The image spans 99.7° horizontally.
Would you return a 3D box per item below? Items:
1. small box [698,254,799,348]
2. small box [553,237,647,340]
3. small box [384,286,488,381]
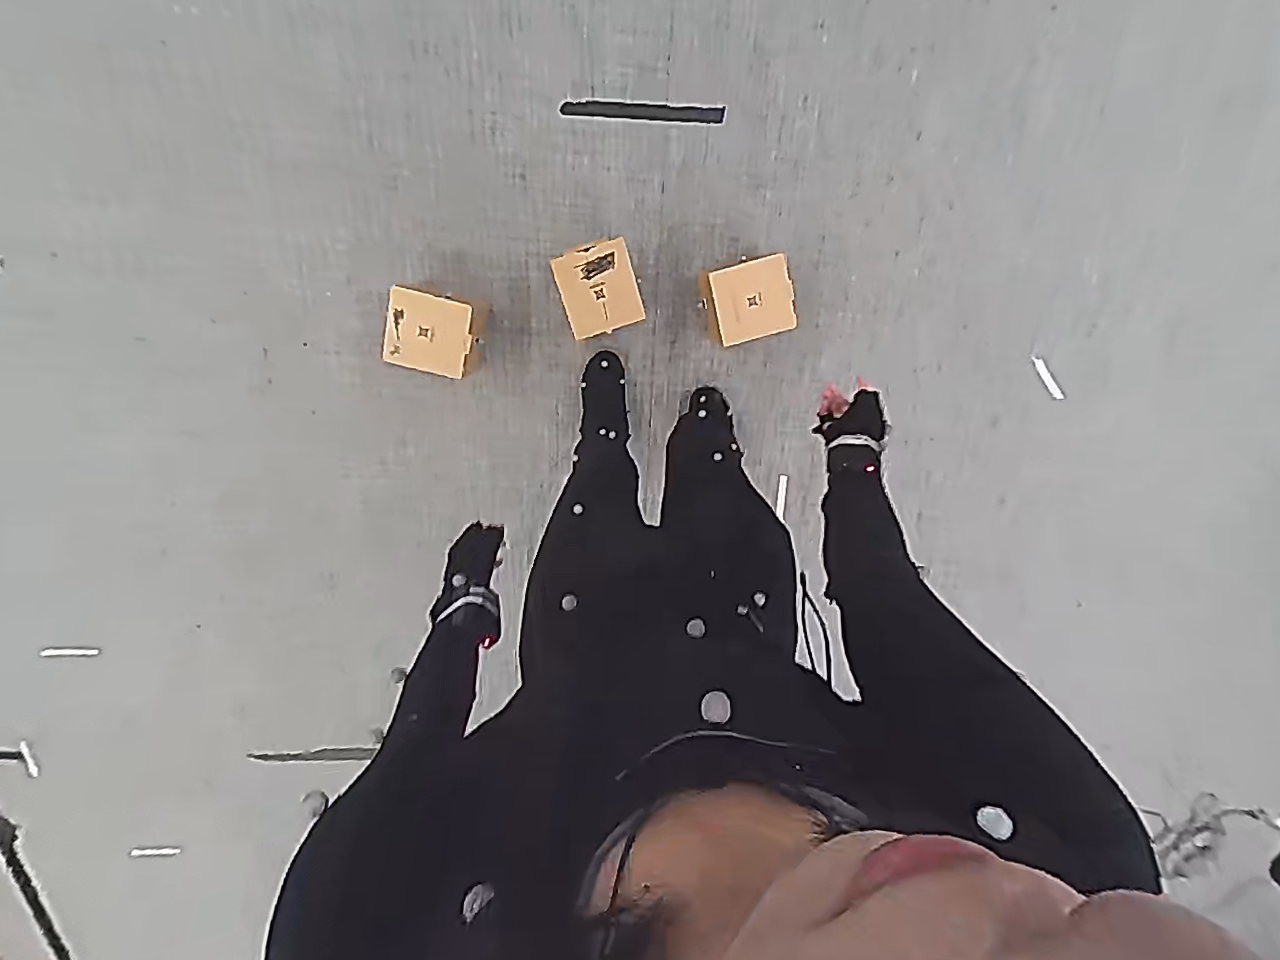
[{"bbox_3d":[0.249,-0.419,1.263,0.179,0.176,0.168,-16,109,2],"label":"small box"},{"bbox_3d":[-0.090,-0.433,1.231,0.168,0.176,0.179,-17,111,2],"label":"small box"},{"bbox_3d":[-0.460,-0.341,1.240,0.179,0.176,0.168,14,108,-9],"label":"small box"}]
